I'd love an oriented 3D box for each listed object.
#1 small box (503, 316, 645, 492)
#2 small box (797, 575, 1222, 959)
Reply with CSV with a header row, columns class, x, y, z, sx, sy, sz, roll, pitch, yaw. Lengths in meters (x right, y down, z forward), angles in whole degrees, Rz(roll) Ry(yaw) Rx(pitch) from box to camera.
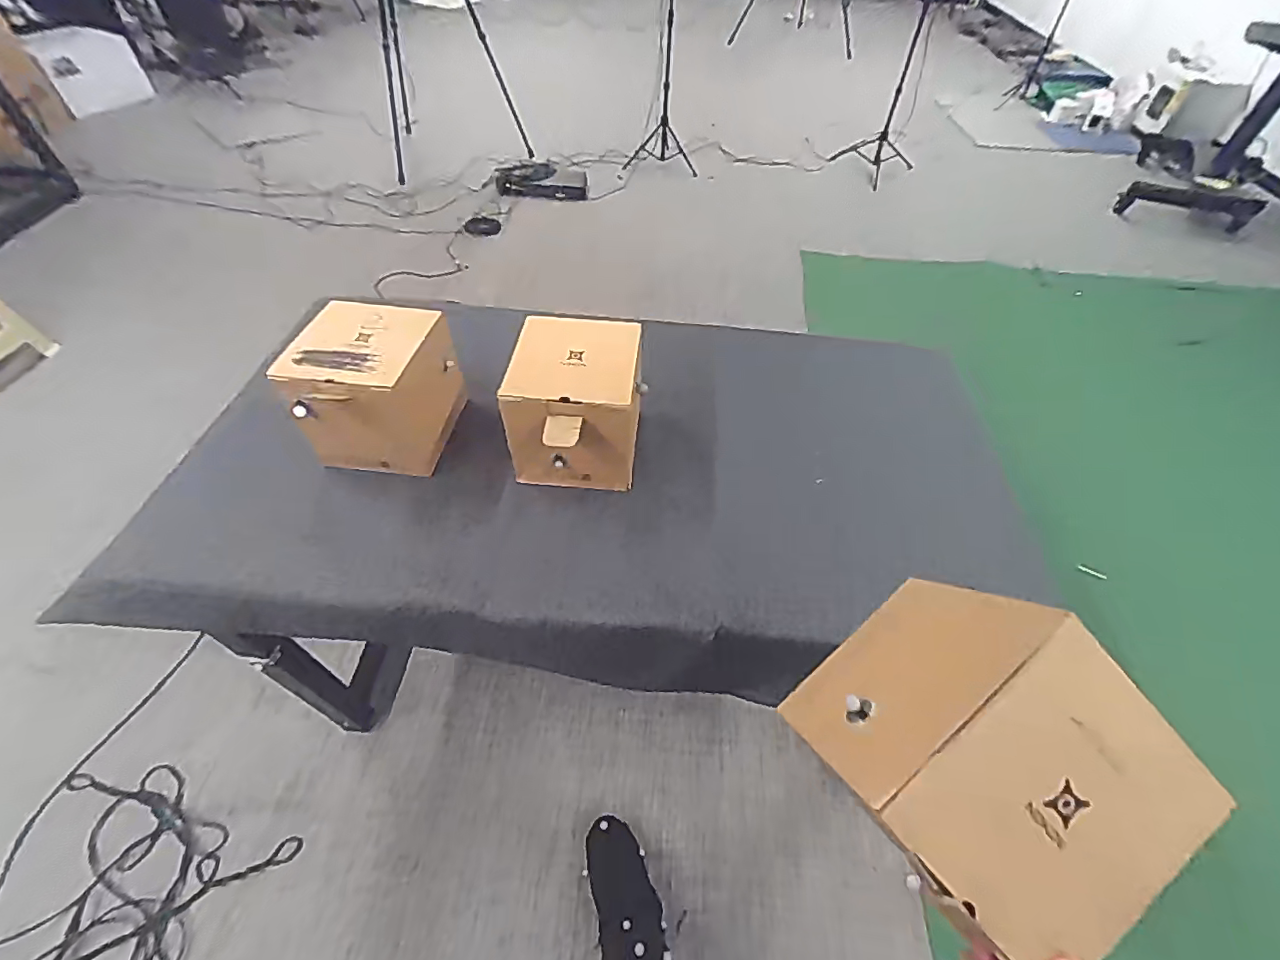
class,x,y,z,sx,sy,sz,roll,pitch,yaw
small box,-0.085,-0.107,0.773,0.168,0.176,0.179,5,51,1
small box,0.245,0.194,0.410,0.179,0.176,0.168,-42,93,-7
